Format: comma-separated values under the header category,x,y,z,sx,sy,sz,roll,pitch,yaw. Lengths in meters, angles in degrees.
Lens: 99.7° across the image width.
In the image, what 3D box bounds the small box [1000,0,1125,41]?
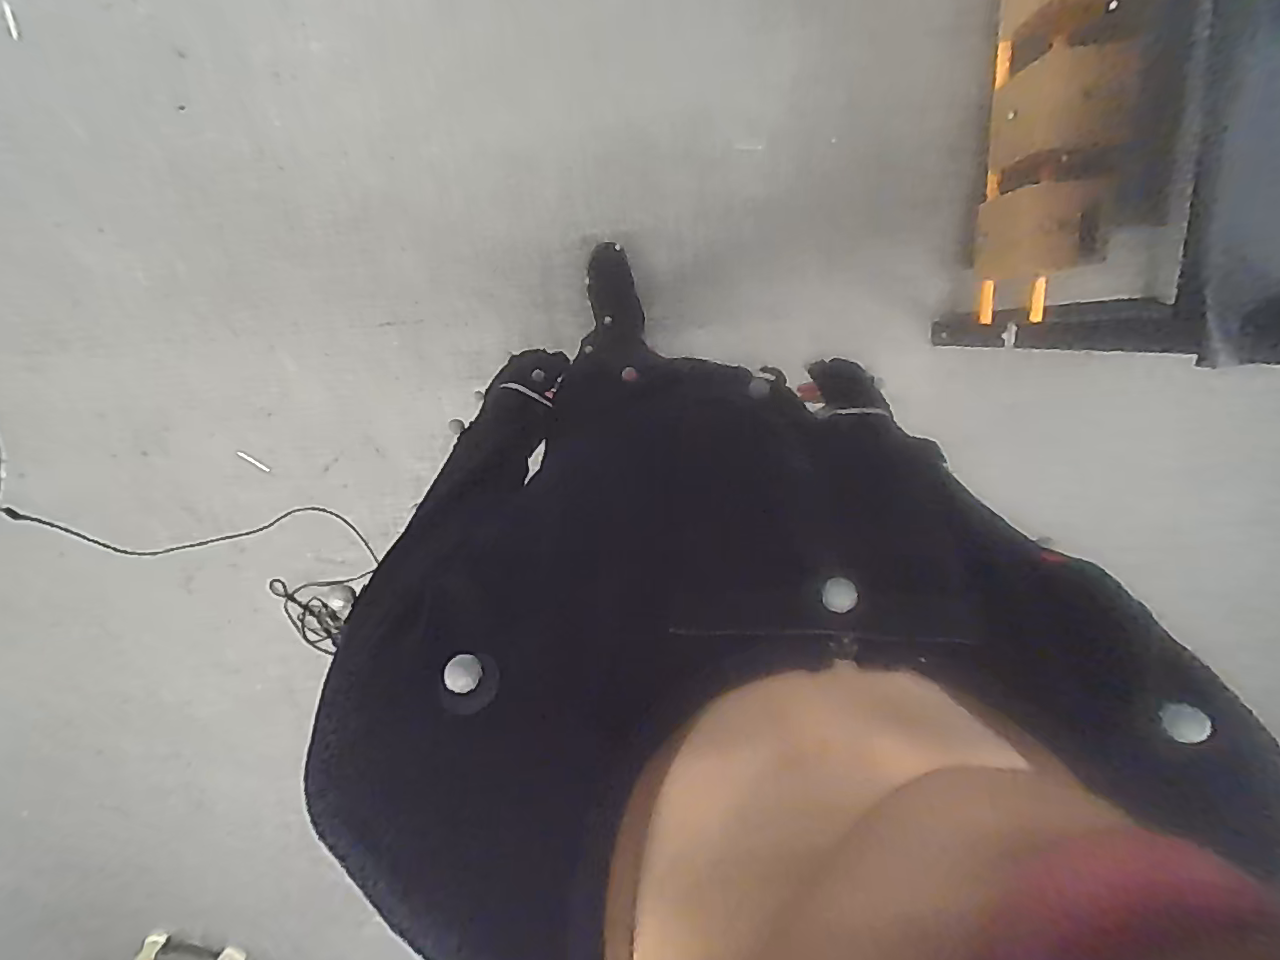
category,x,y,z,sx,sy,sz,roll,pitch,yaw
small box,0.827,-0.976,1.030,0.179,0.176,0.168,-3,106,3

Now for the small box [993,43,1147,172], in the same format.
category,x,y,z,sx,sy,sz,roll,pitch,yaw
small box,0.852,-0.739,1.092,0.179,0.176,0.168,-4,106,3
